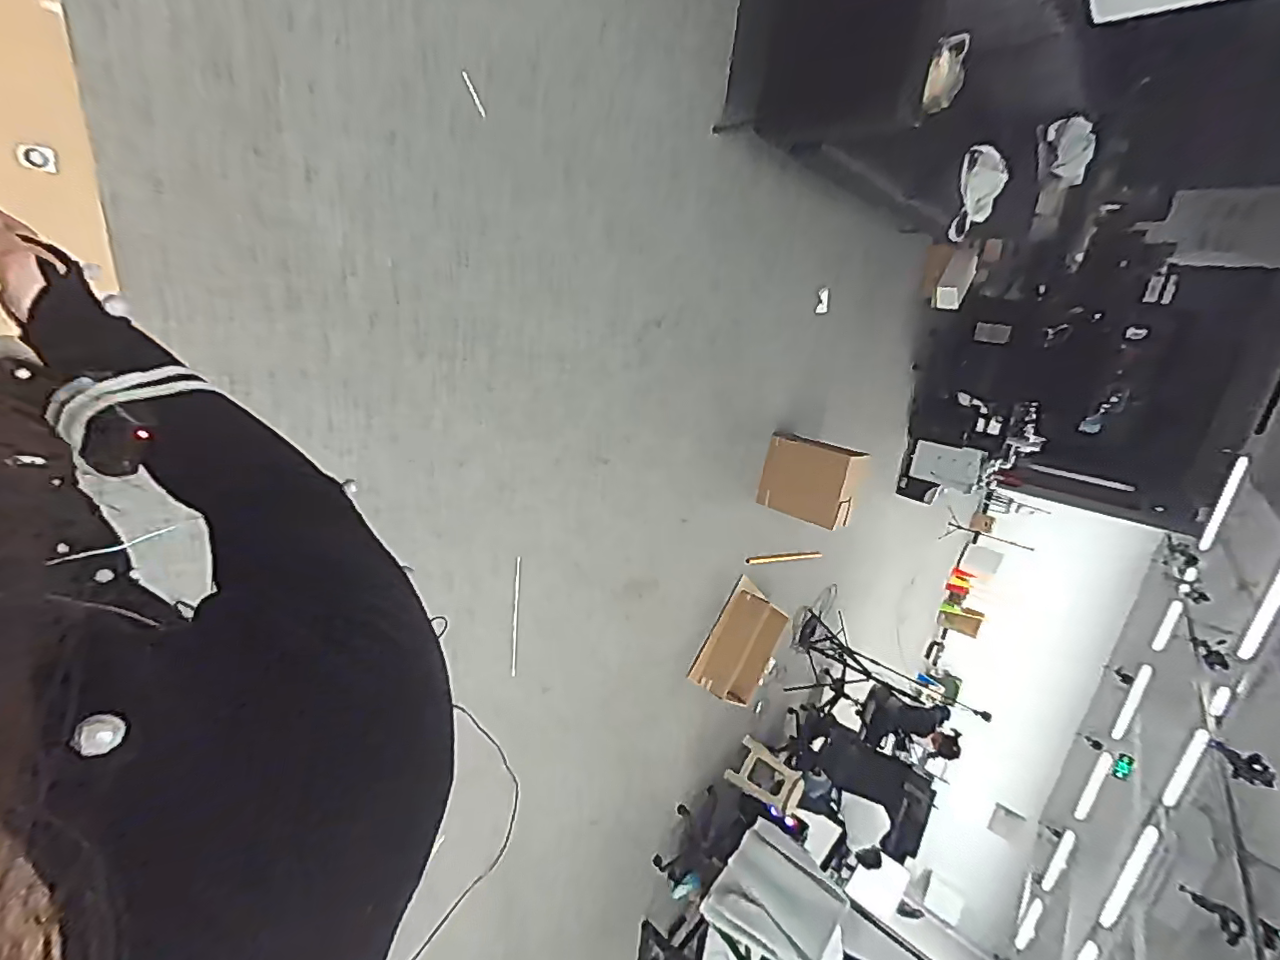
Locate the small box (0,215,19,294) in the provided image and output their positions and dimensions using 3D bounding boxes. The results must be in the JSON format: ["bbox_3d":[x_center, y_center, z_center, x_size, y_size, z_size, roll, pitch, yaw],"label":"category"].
[{"bbox_3d":[-0.562,-0.205,0.345,0.179,0.176,0.168,-25,128,-34],"label":"small box"}]
